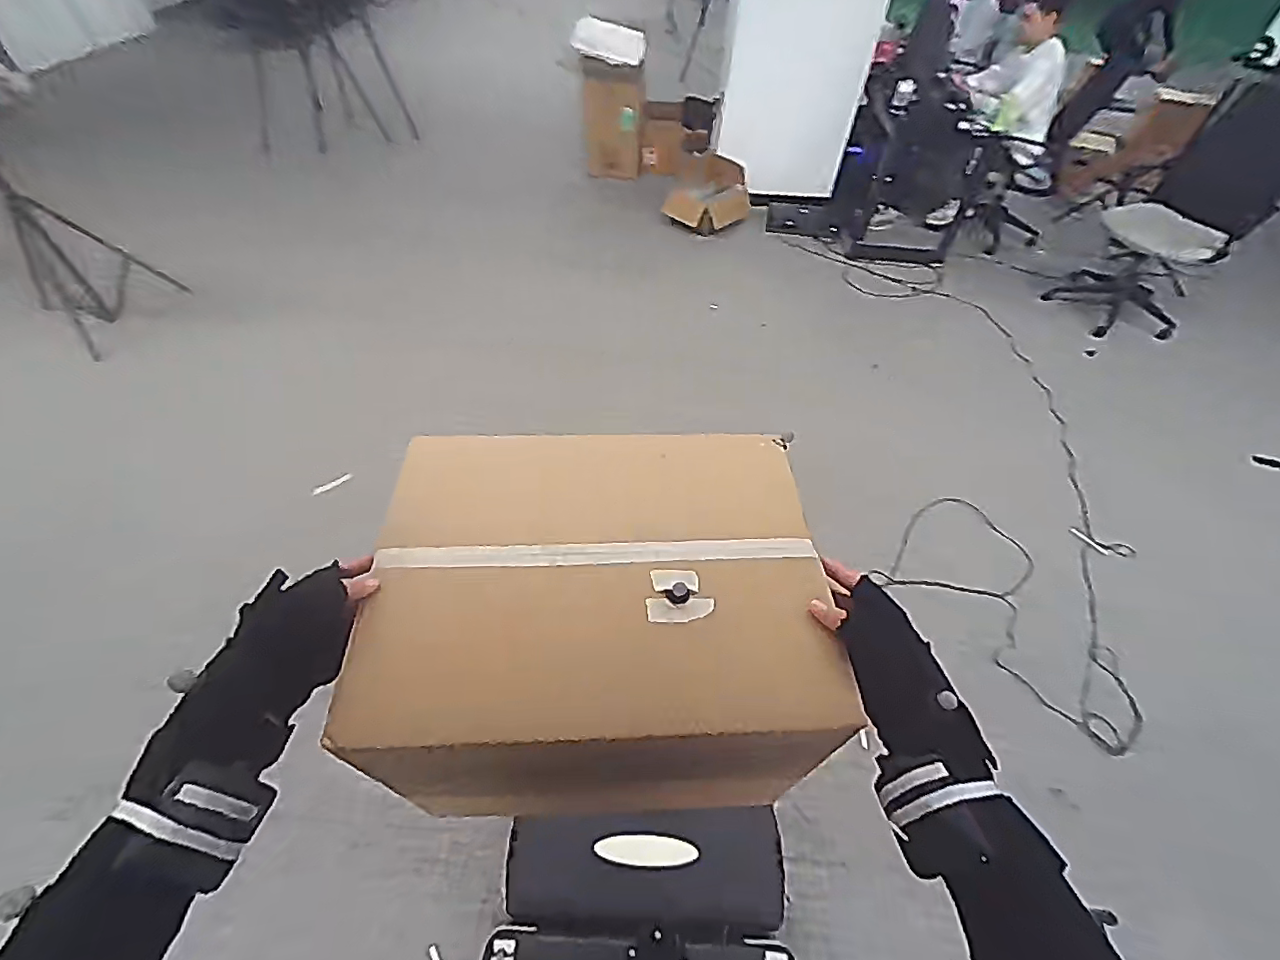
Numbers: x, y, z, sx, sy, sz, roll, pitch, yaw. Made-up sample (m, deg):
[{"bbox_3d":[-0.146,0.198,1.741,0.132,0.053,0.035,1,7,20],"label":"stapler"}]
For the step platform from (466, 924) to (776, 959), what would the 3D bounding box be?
[{"bbox_3d":[-0.040,1.120,1.118,0.684,0.204,0.286,3,50,1],"label":"step platform"}]

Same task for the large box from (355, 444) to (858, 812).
[{"bbox_3d":[-0.036,0.172,0.627,0.408,0.320,0.320,0,50,-4],"label":"large box"}]
